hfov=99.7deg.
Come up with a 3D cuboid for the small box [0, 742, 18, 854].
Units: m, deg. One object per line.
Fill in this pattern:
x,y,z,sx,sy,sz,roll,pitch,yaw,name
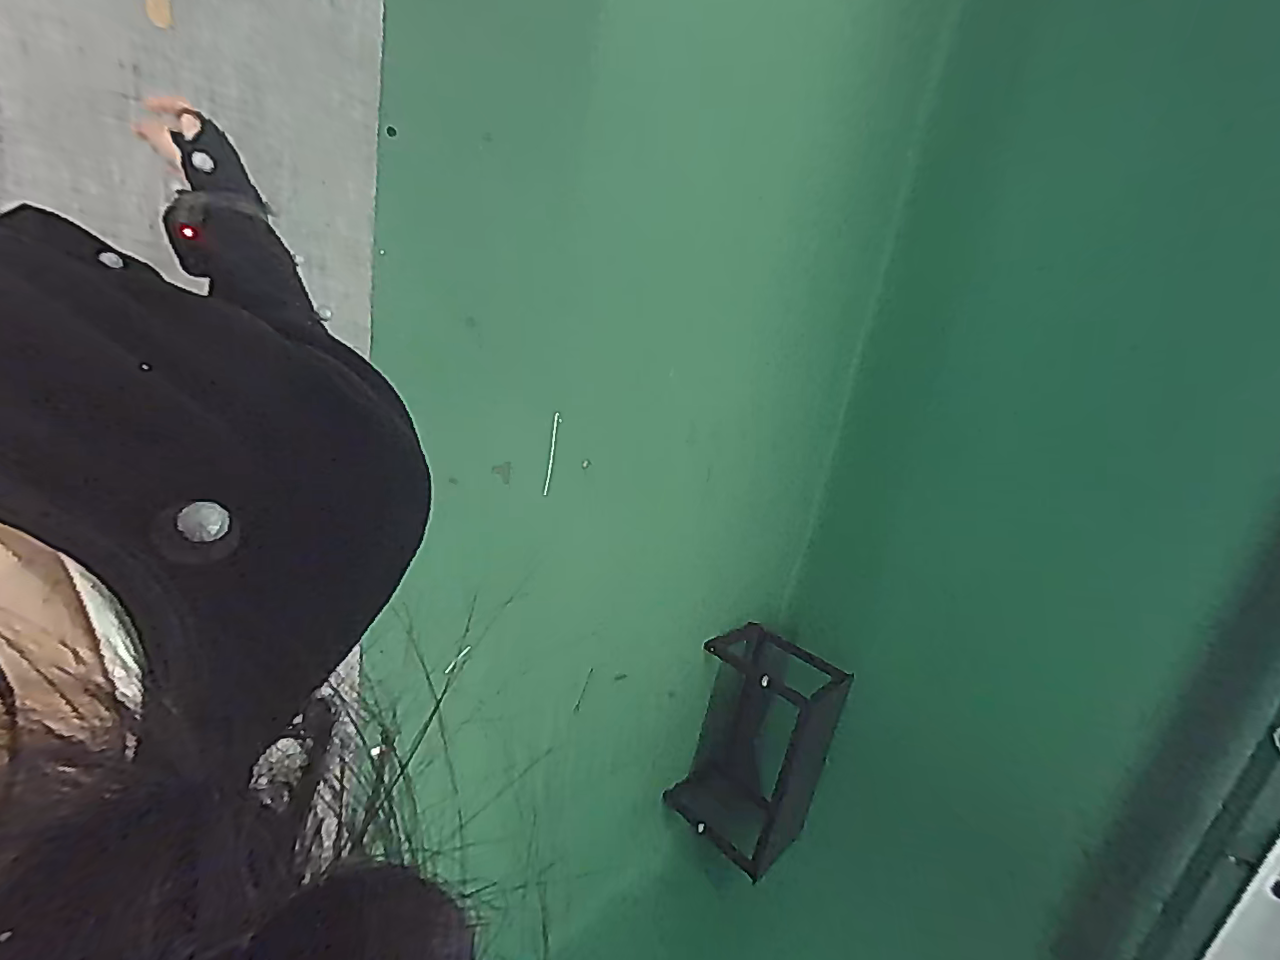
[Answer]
-1.323,0.628,1.020,0.179,0.176,0.168,-13,116,-43,small box
